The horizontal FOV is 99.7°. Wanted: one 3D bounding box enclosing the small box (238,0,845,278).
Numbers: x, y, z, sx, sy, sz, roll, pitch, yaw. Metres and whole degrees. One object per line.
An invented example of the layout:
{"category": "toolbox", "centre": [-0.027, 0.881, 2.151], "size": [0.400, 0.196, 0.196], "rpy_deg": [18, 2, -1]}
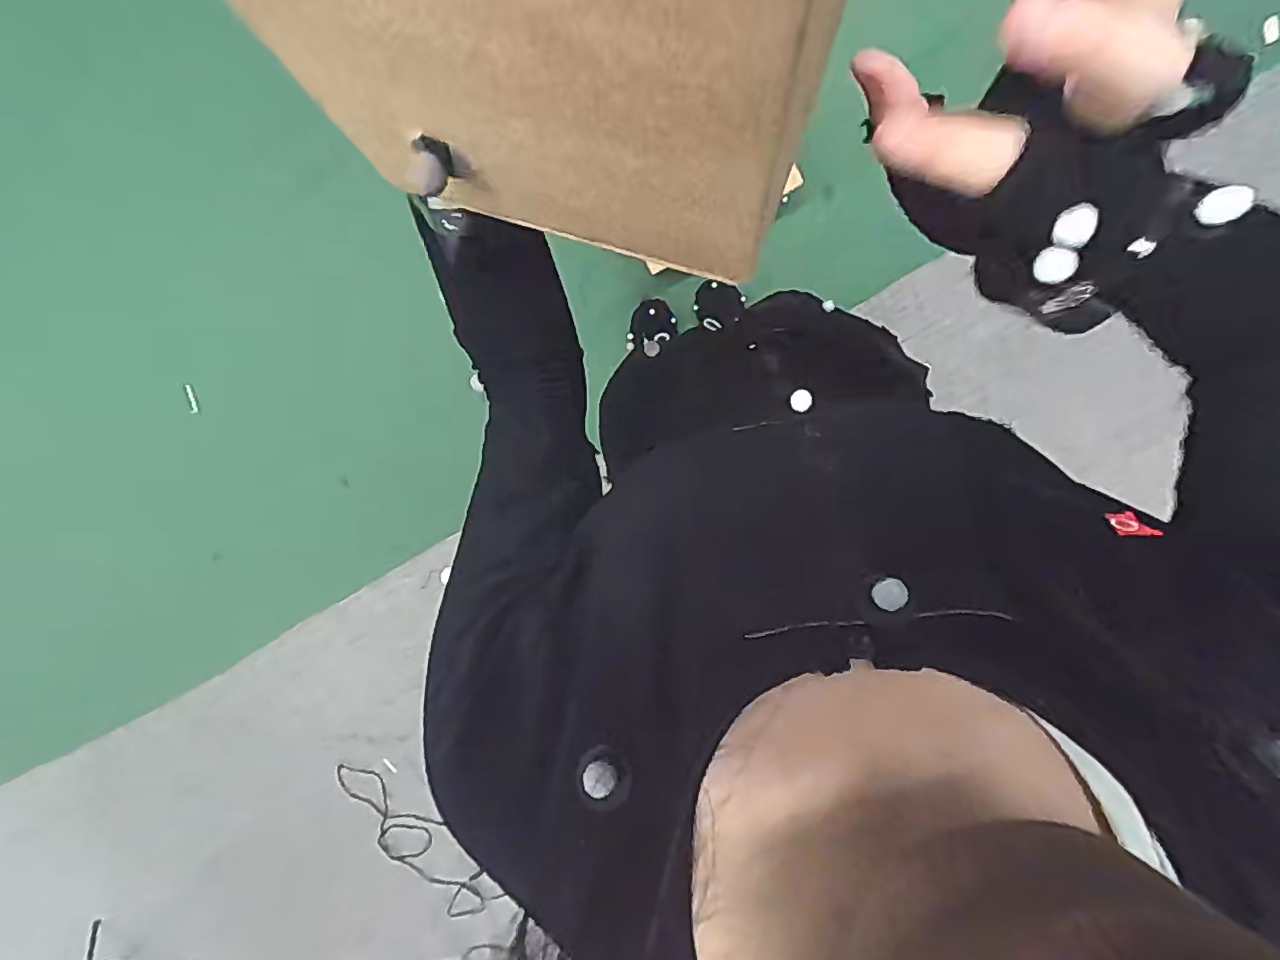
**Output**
{"category": "small box", "centre": [-0.017, -0.191, 0.161], "size": [0.179, 0.176, 0.168], "rpy_deg": [17, 89, 8]}
